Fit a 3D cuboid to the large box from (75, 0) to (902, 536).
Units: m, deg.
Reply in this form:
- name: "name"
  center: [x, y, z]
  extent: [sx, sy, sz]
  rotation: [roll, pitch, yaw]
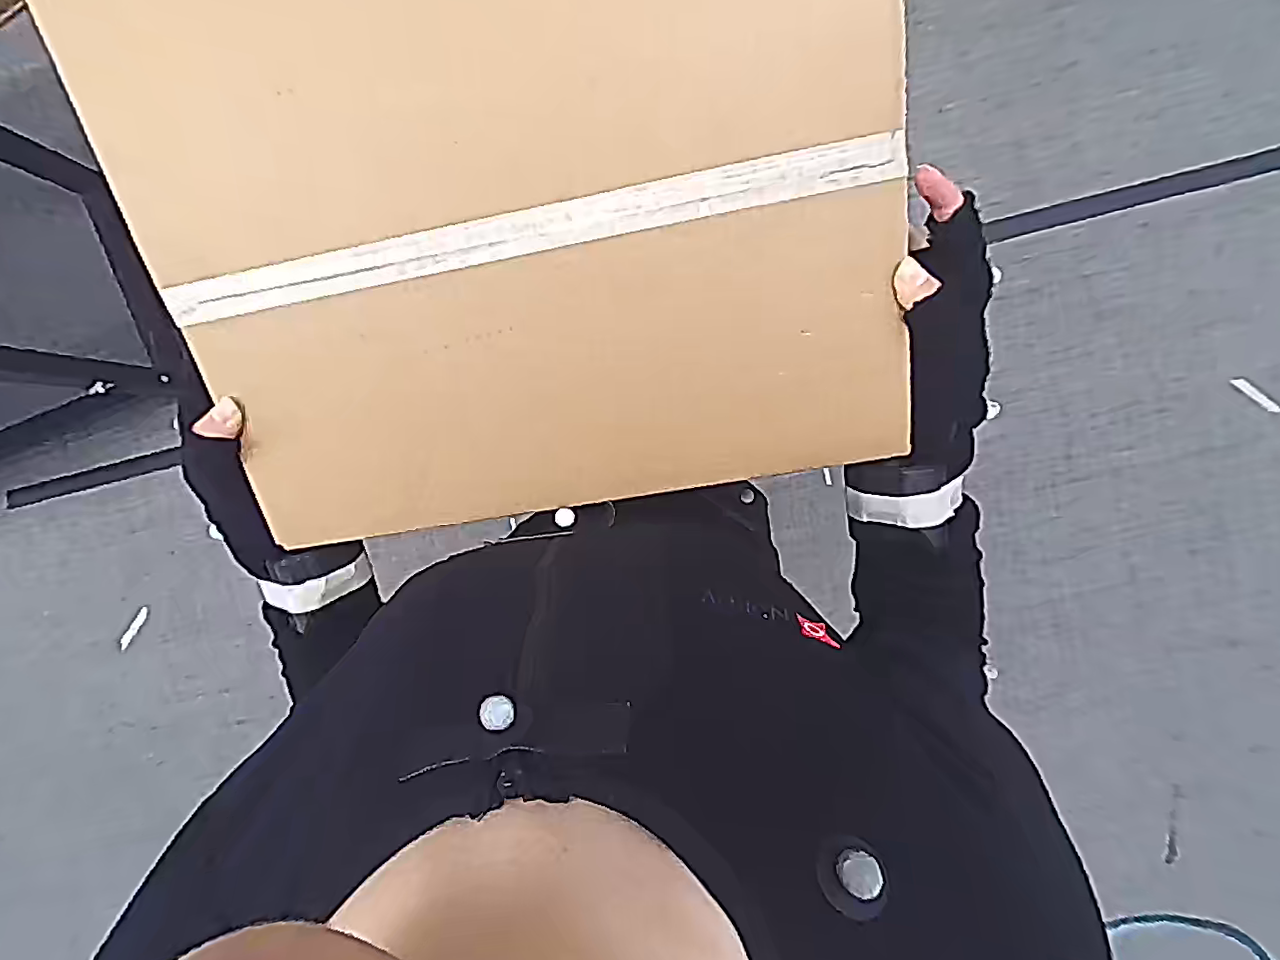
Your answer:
- name: "large box"
  center: [-0.059, -0.184, 0.438]
  extent: [0.408, 0.320, 0.320]
  rotation: [-9, 110, 6]
